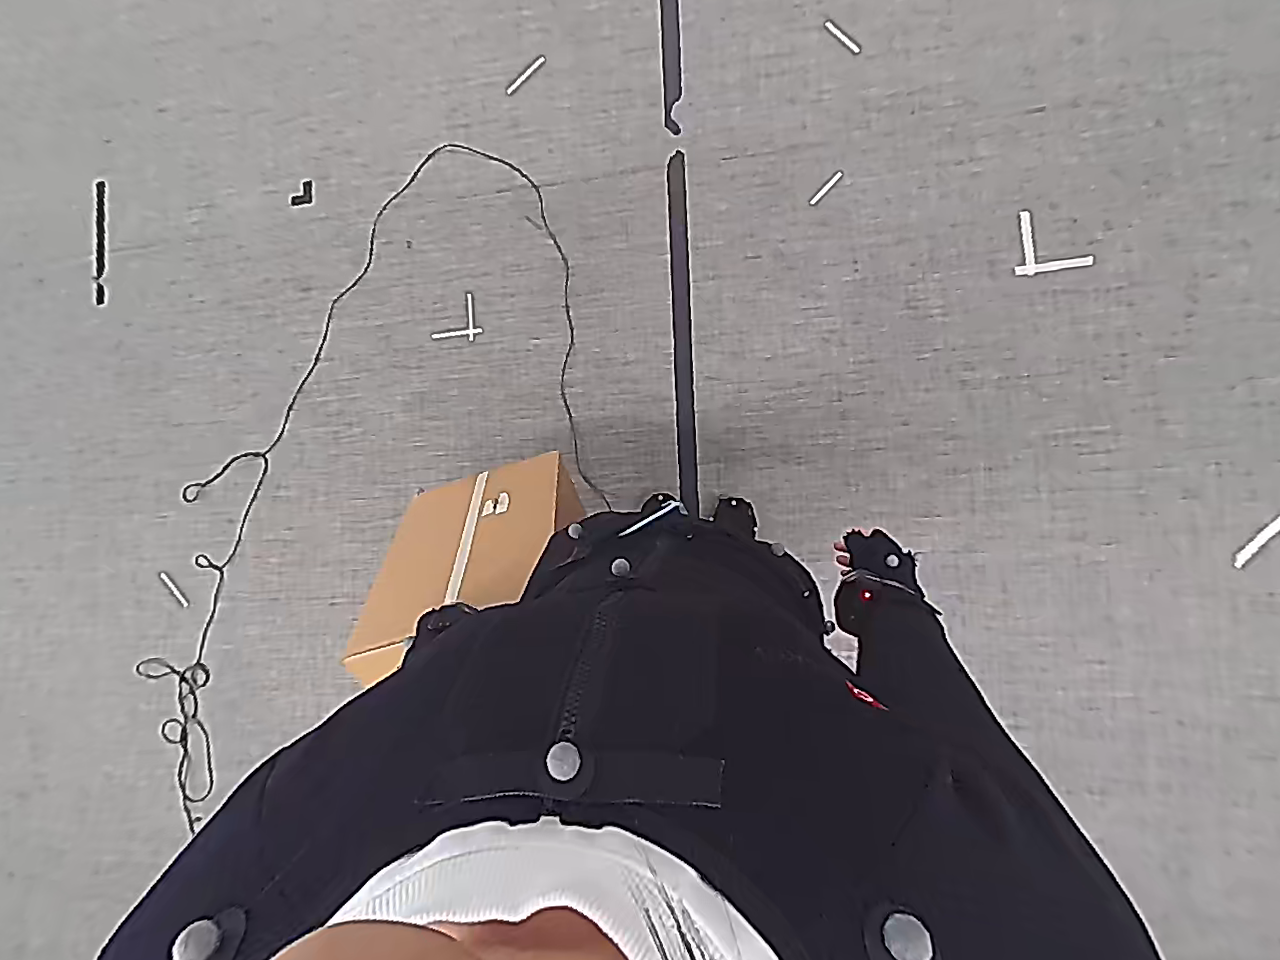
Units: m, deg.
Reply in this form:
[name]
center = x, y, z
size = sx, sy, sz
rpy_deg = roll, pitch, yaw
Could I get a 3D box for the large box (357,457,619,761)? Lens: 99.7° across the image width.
[large box]
center = -0.239, 0.220, 1.000
size = 0.320, 0.408, 0.320
rpy_deg = -16, 123, 4
